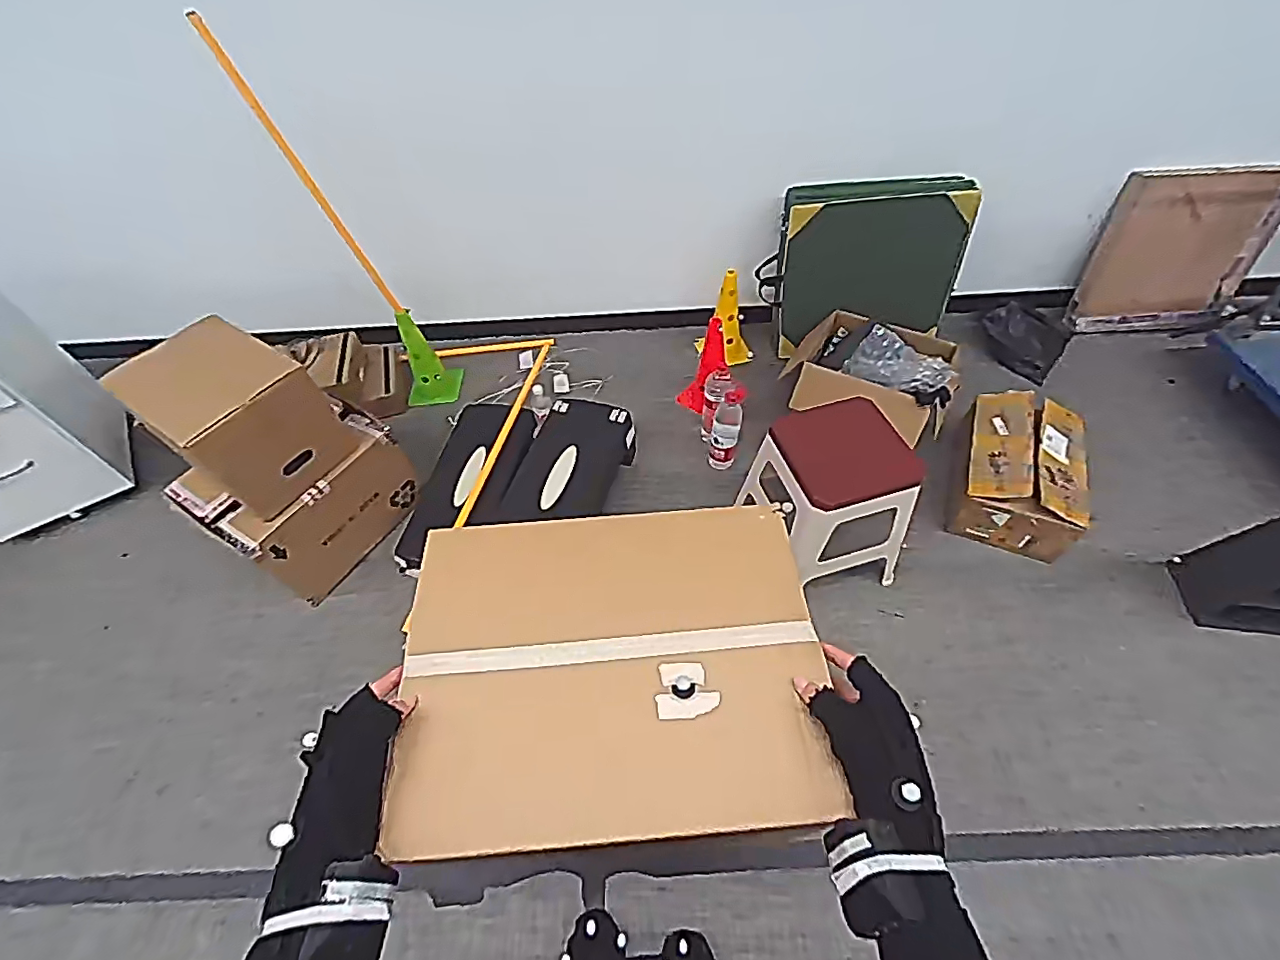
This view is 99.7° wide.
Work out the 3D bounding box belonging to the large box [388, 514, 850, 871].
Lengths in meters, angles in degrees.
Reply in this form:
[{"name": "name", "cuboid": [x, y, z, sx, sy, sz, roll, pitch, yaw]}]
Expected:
[{"name": "large box", "cuboid": [-0.024, 0.267, 0.663, 0.408, 0.320, 0.320, -4, 53, -1]}]
